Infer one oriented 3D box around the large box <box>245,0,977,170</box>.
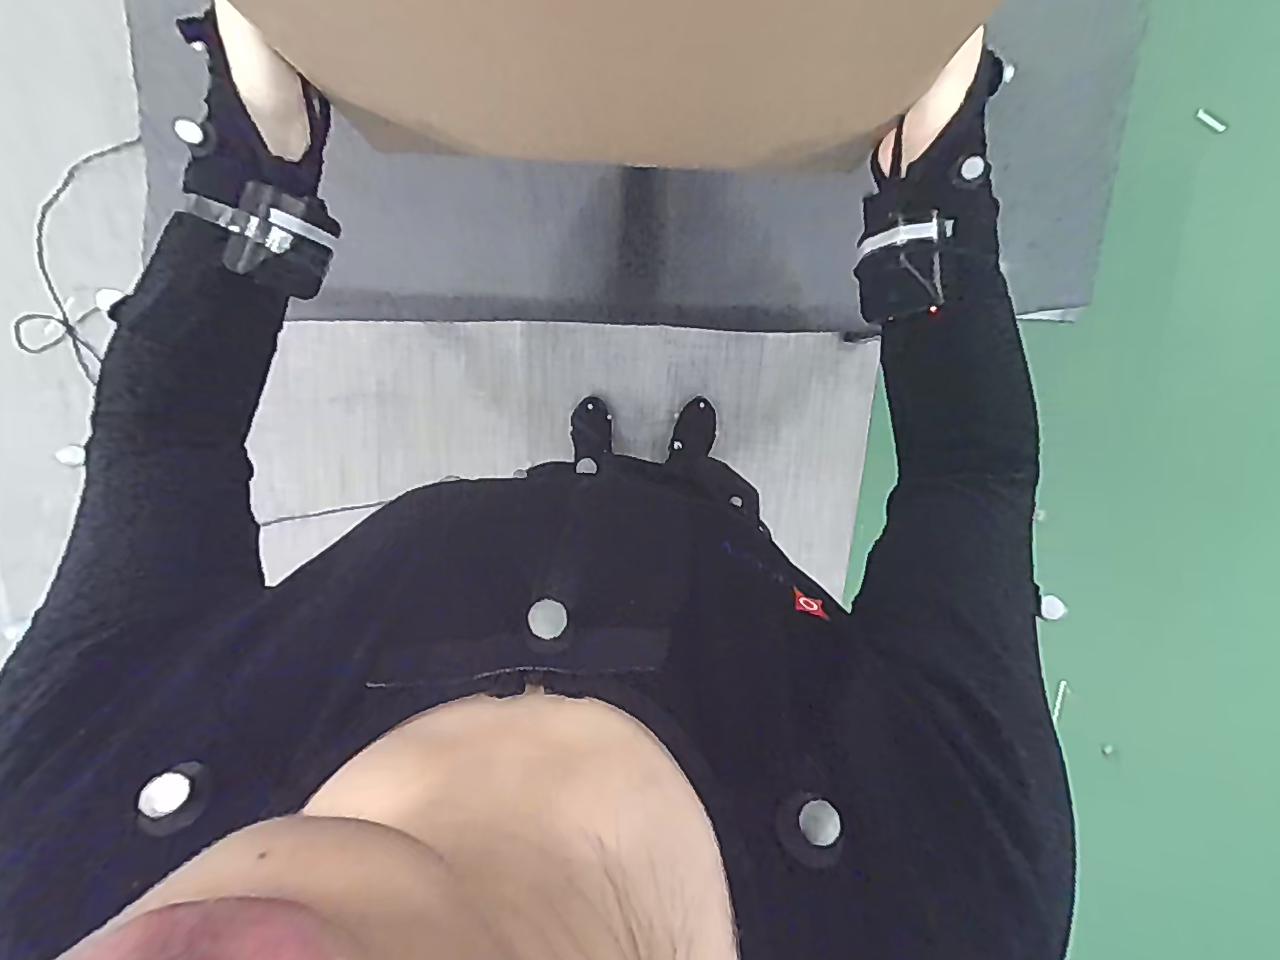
[{"bbox_3d":[-0.017,-0.406,0.305,0.408,0.320,0.320,2,97,0],"label":"large box"}]
